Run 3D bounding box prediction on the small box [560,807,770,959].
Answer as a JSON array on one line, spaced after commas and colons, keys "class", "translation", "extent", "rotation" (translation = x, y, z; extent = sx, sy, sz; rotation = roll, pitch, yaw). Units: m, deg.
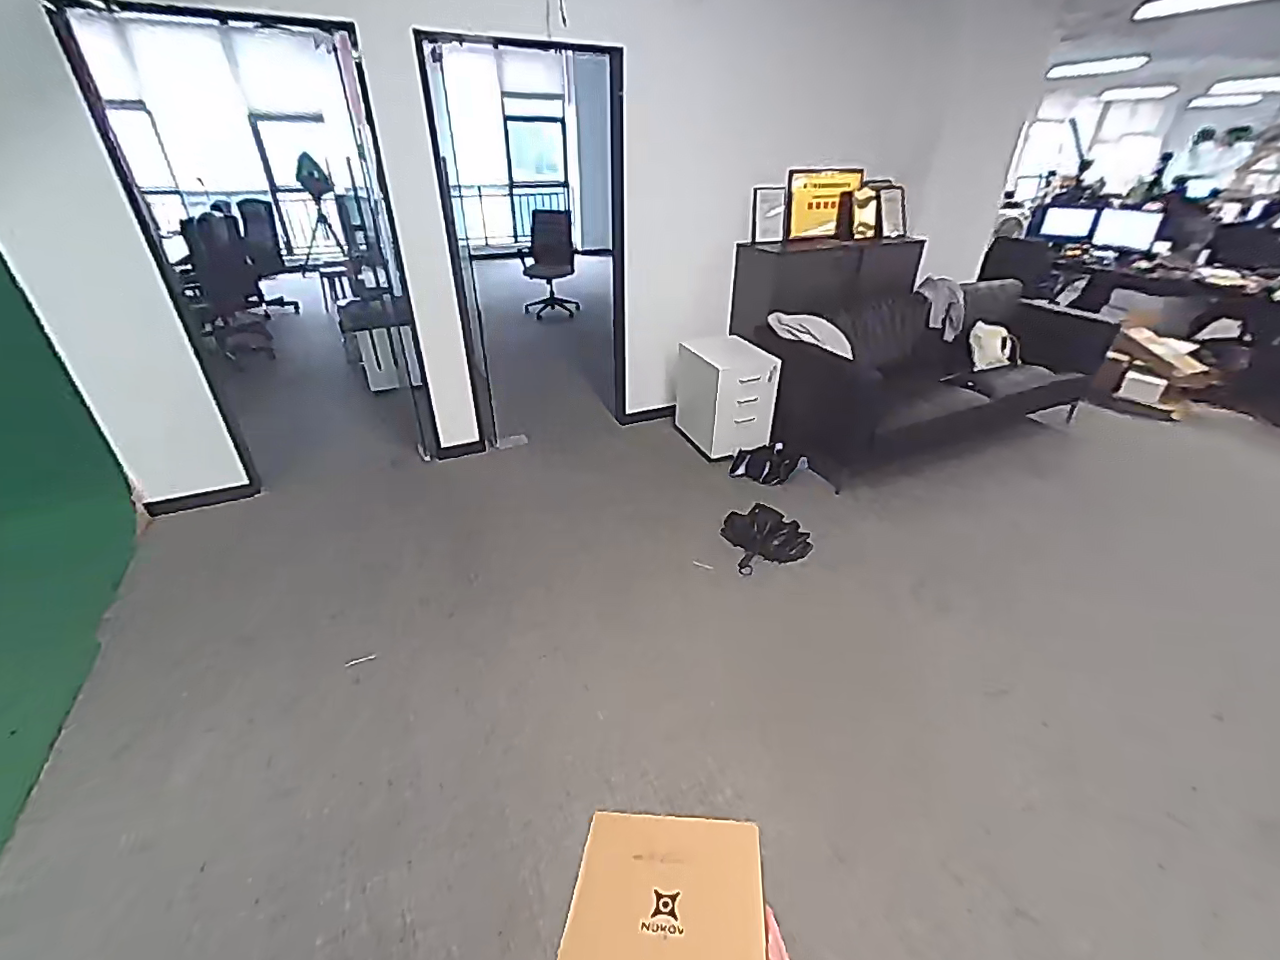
[{"class": "small box", "translation": [0.032, 0.436, 0.482], "extent": [0.168, 0.176, 0.179], "rotation": [-1, 17, 10]}]
